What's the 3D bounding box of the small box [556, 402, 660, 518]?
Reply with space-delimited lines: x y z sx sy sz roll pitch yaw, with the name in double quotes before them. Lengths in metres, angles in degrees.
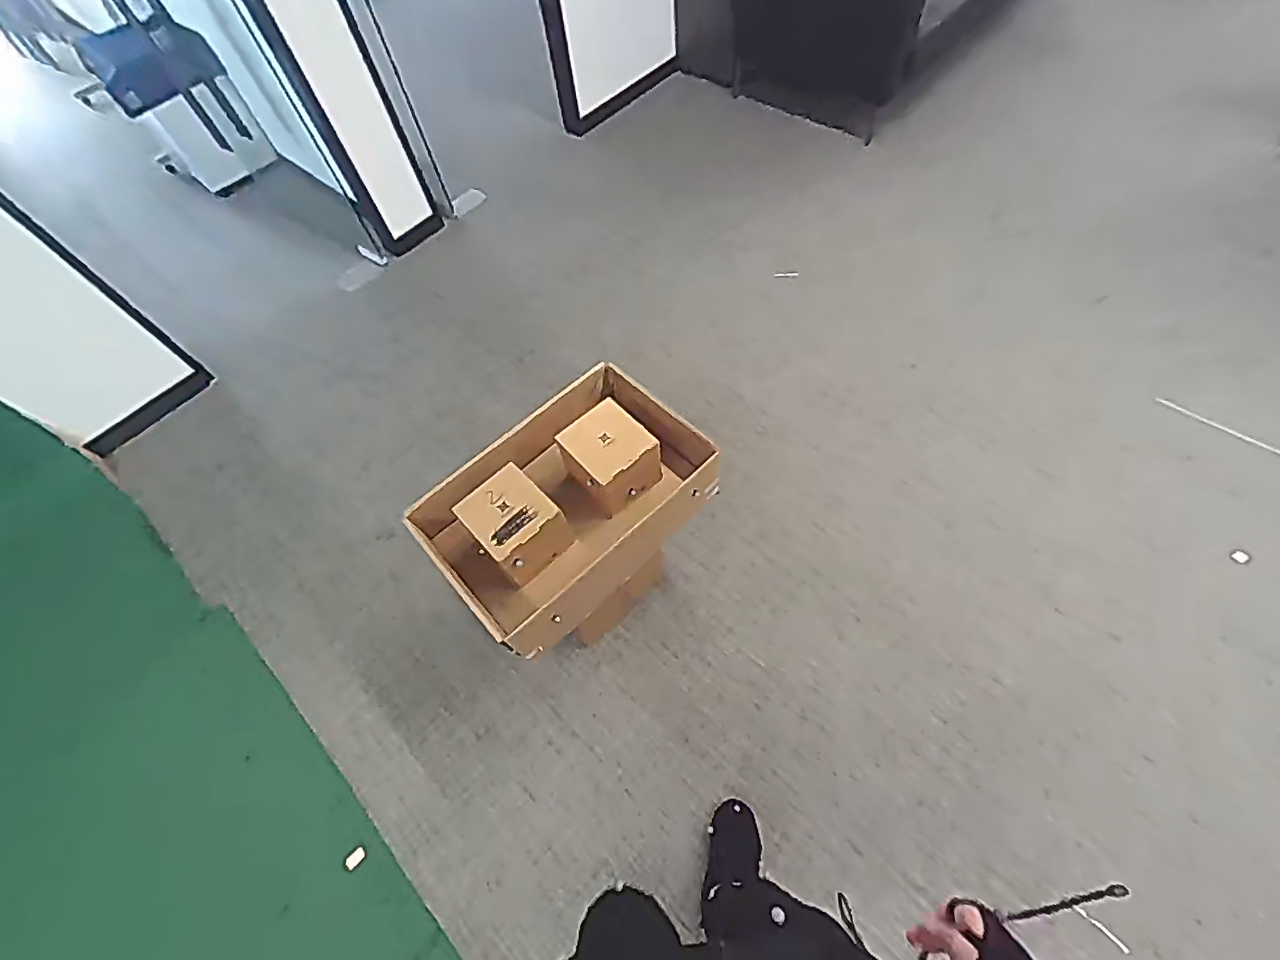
"small box" -0.069 -0.042 1.265 0.168 0.176 0.179 -39 65 -16
